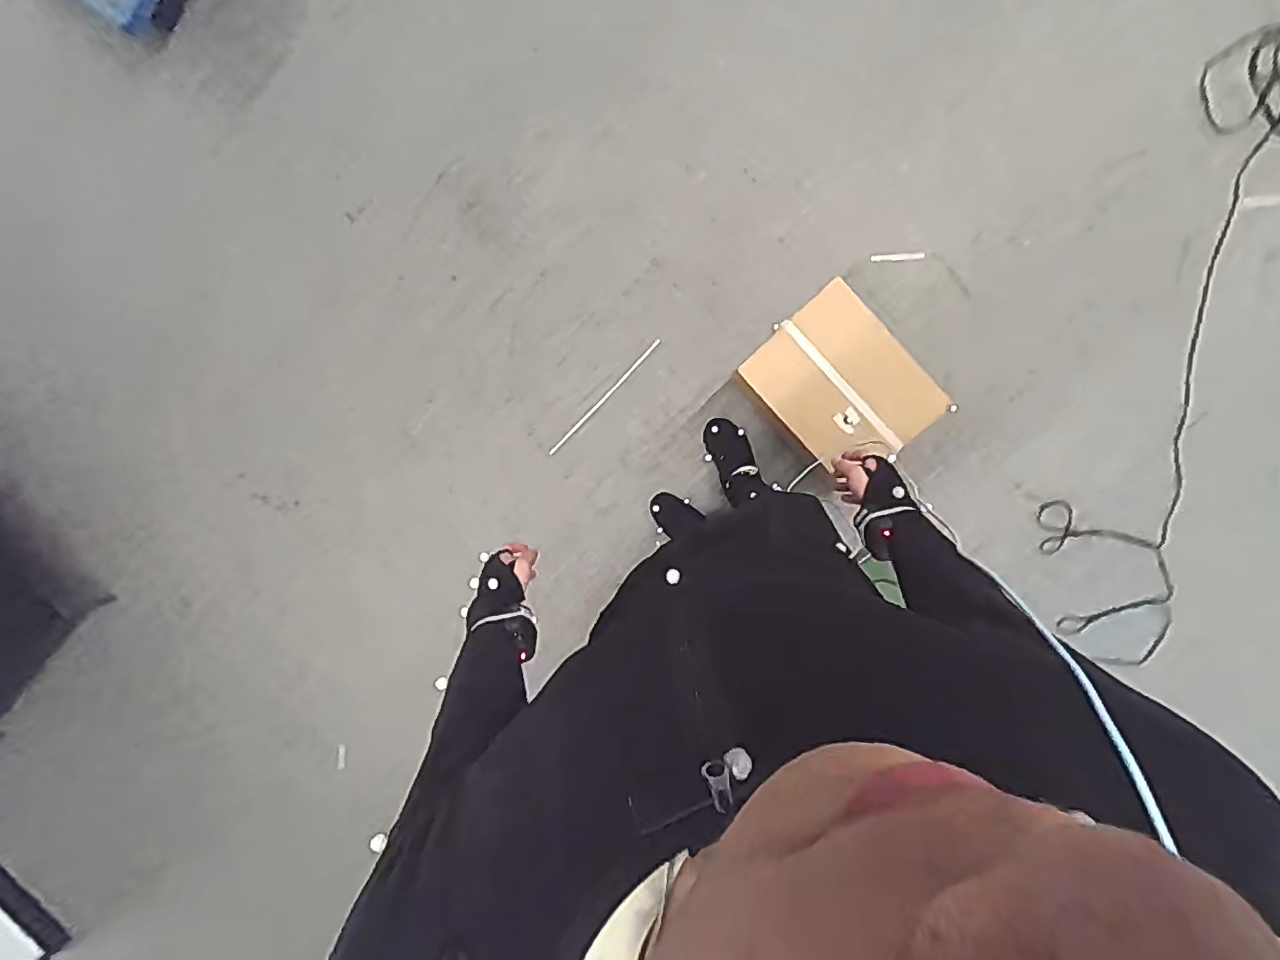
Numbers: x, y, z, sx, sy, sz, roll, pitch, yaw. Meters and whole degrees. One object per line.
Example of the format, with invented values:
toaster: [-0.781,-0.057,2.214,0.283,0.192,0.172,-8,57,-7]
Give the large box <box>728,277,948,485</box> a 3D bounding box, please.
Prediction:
large box: [0.484,-0.246,1.416,0.320,0.320,0.408,-43,91,10]
